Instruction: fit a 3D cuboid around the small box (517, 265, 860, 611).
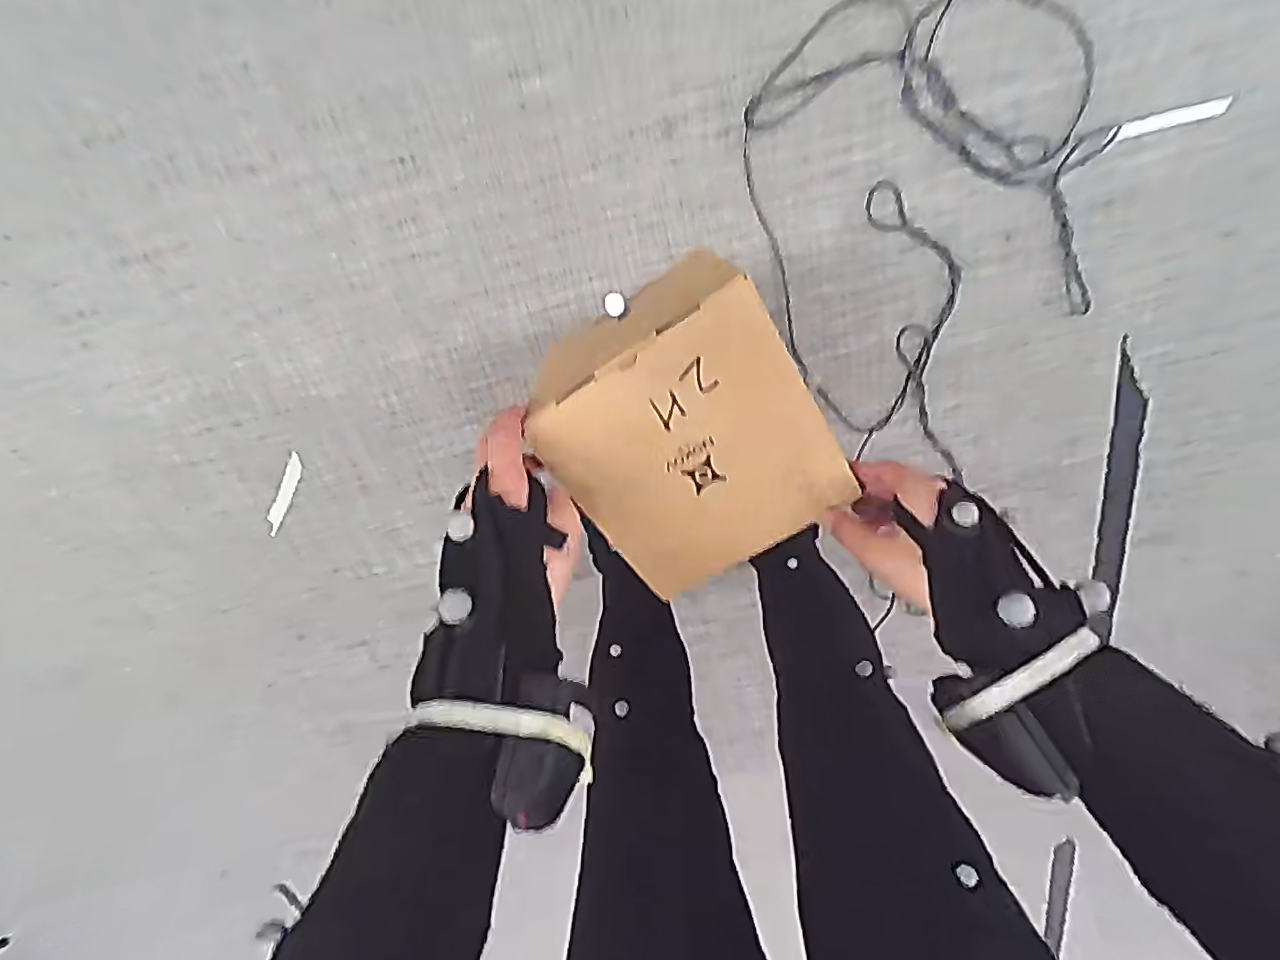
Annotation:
[{"bbox_3d":[0.033,-0.041,0.419,0.168,0.176,0.179,-32,115,12],"label":"small box"}]
